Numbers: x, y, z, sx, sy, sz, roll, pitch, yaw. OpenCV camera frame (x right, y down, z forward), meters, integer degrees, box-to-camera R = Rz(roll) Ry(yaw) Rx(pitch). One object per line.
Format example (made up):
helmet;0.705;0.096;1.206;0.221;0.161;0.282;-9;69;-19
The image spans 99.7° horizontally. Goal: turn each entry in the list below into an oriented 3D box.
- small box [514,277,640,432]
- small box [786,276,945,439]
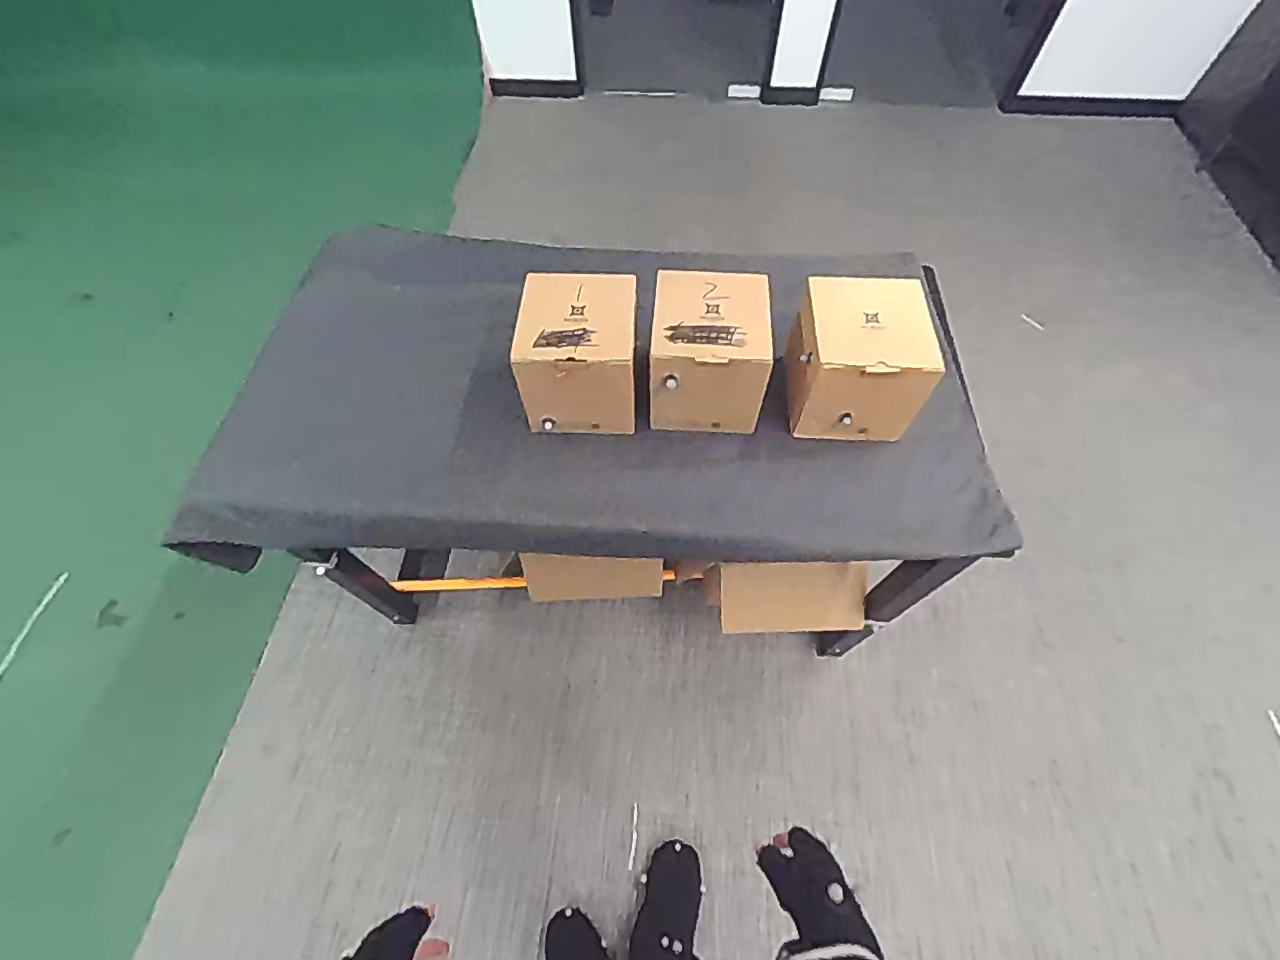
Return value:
small box;-0.086;-0.188;0.835;0.168;0.176;0.179;1;59;1
small box;0.326;-0.184;0.825;0.168;0.176;0.179;2;60;2
